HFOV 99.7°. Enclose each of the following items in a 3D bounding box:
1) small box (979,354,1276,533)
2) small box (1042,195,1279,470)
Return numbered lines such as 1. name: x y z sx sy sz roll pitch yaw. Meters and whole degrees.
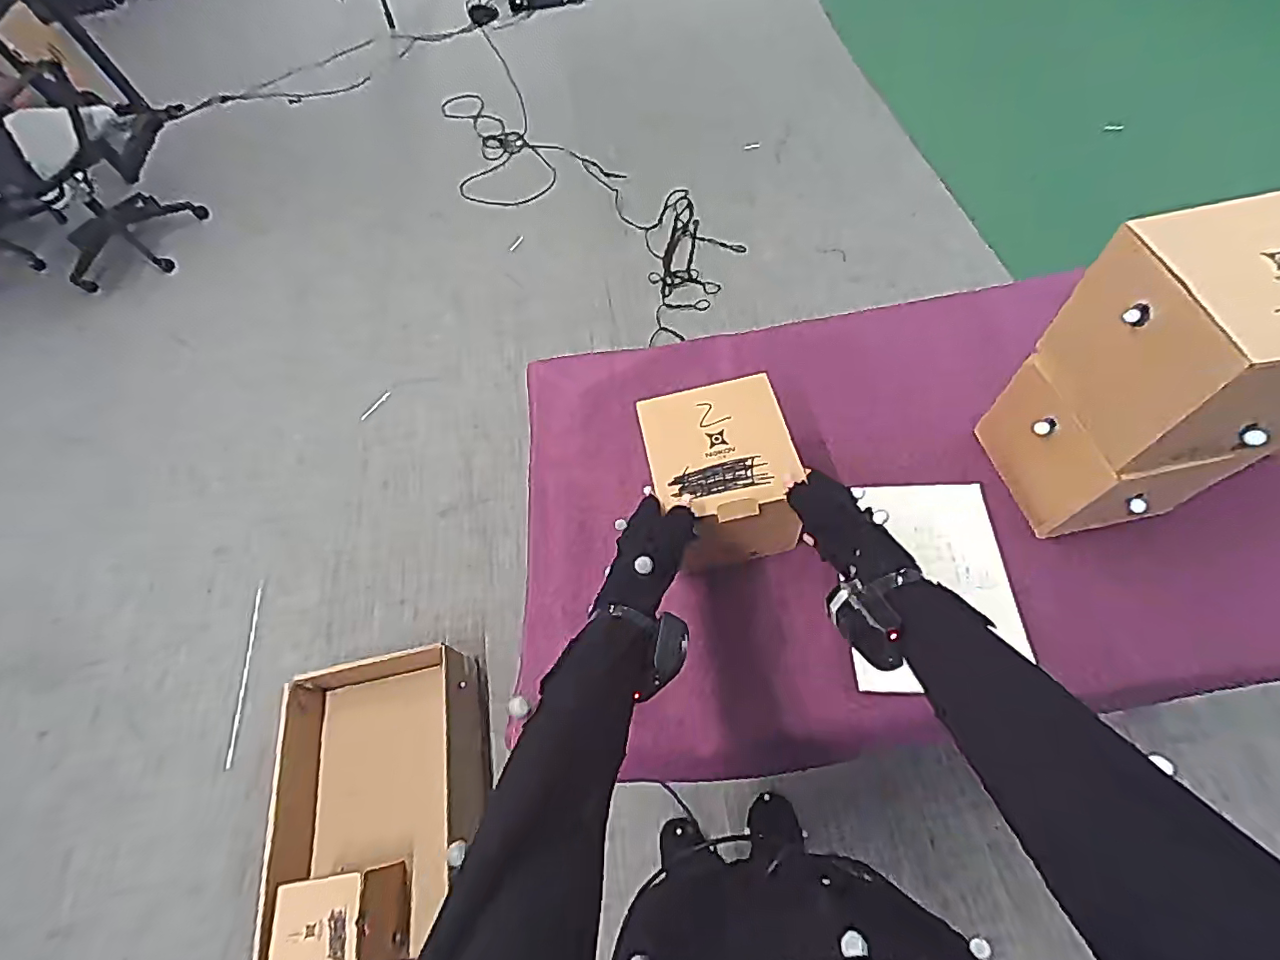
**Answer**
1. small box: 0.557 -0.049 0.654 0.168 0.176 0.179 -13 60 2
2. small box: 0.536 -0.133 0.513 0.168 0.176 0.179 -10 61 4
